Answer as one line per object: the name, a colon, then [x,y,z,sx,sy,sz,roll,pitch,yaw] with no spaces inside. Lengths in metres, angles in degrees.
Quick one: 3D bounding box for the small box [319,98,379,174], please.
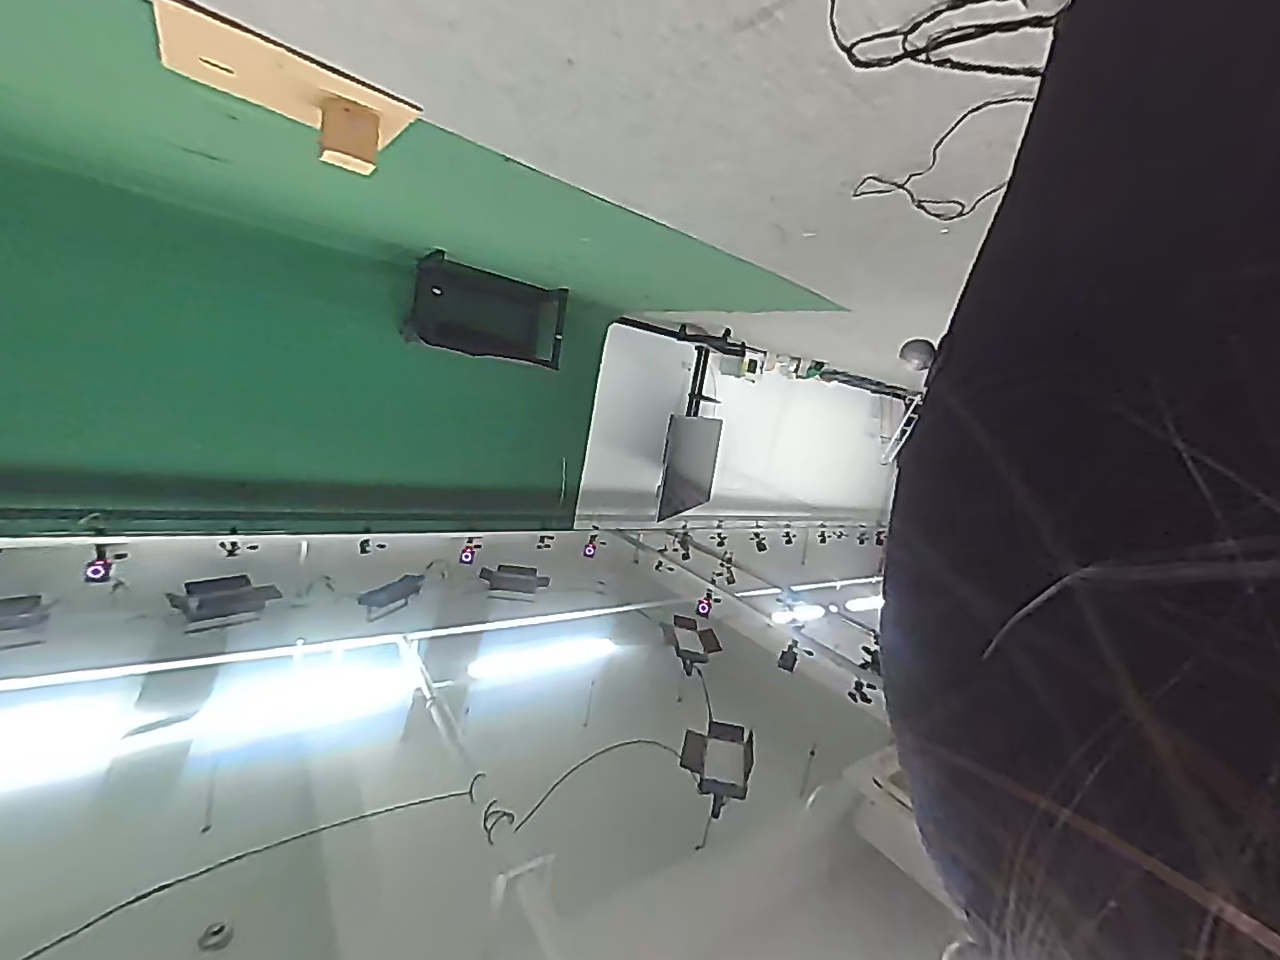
small box: [-1.068,-1.261,1.986,0.168,0.176,0.179,1,-167,-38]
